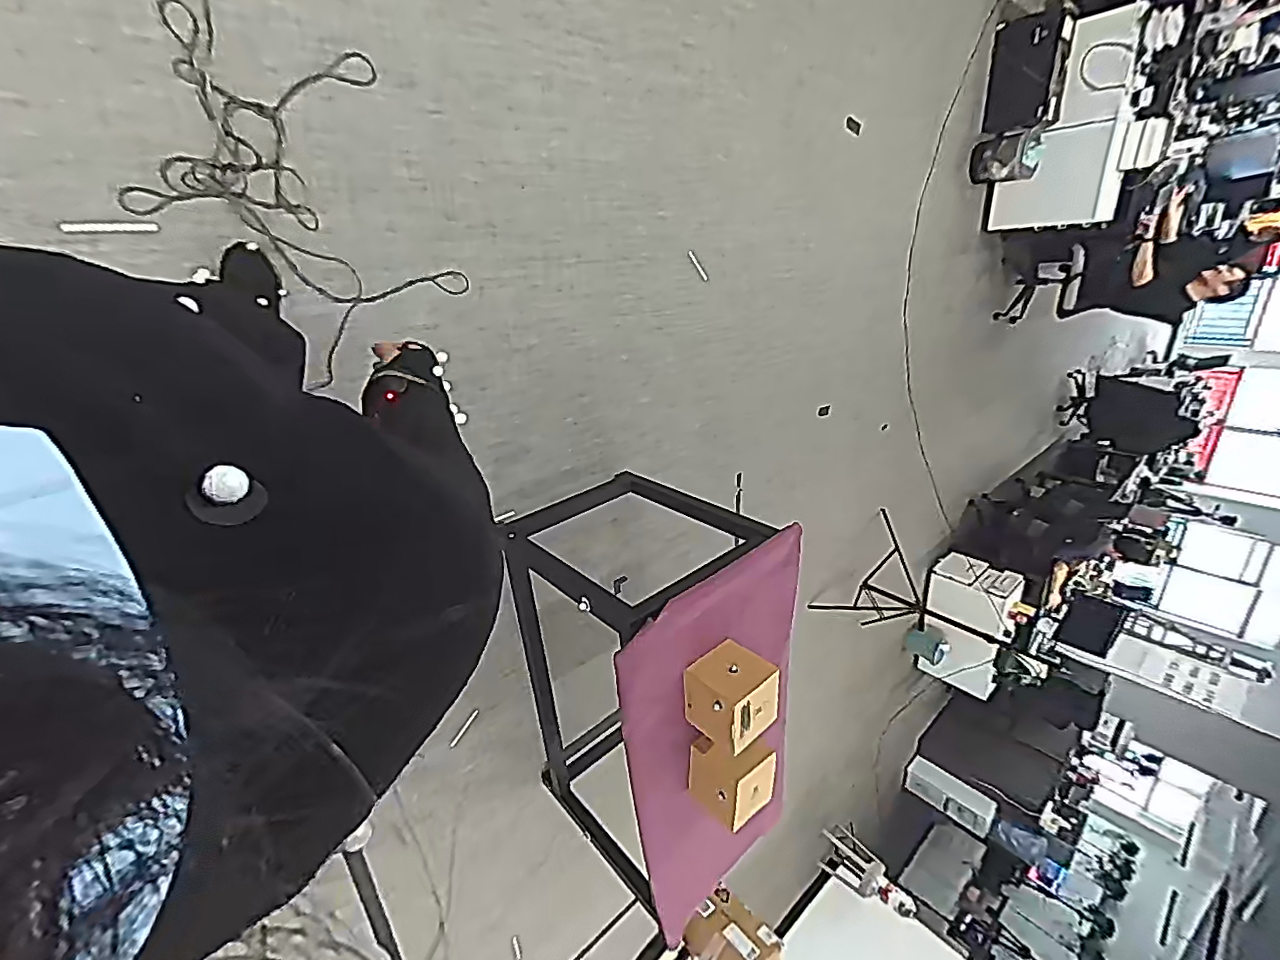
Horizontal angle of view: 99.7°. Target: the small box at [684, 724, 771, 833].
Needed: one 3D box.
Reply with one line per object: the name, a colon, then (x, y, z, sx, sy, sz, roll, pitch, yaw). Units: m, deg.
small box: (0.236, 0.803, 1.486, 0.168, 0.176, 0.179, -13, 113, -39)
